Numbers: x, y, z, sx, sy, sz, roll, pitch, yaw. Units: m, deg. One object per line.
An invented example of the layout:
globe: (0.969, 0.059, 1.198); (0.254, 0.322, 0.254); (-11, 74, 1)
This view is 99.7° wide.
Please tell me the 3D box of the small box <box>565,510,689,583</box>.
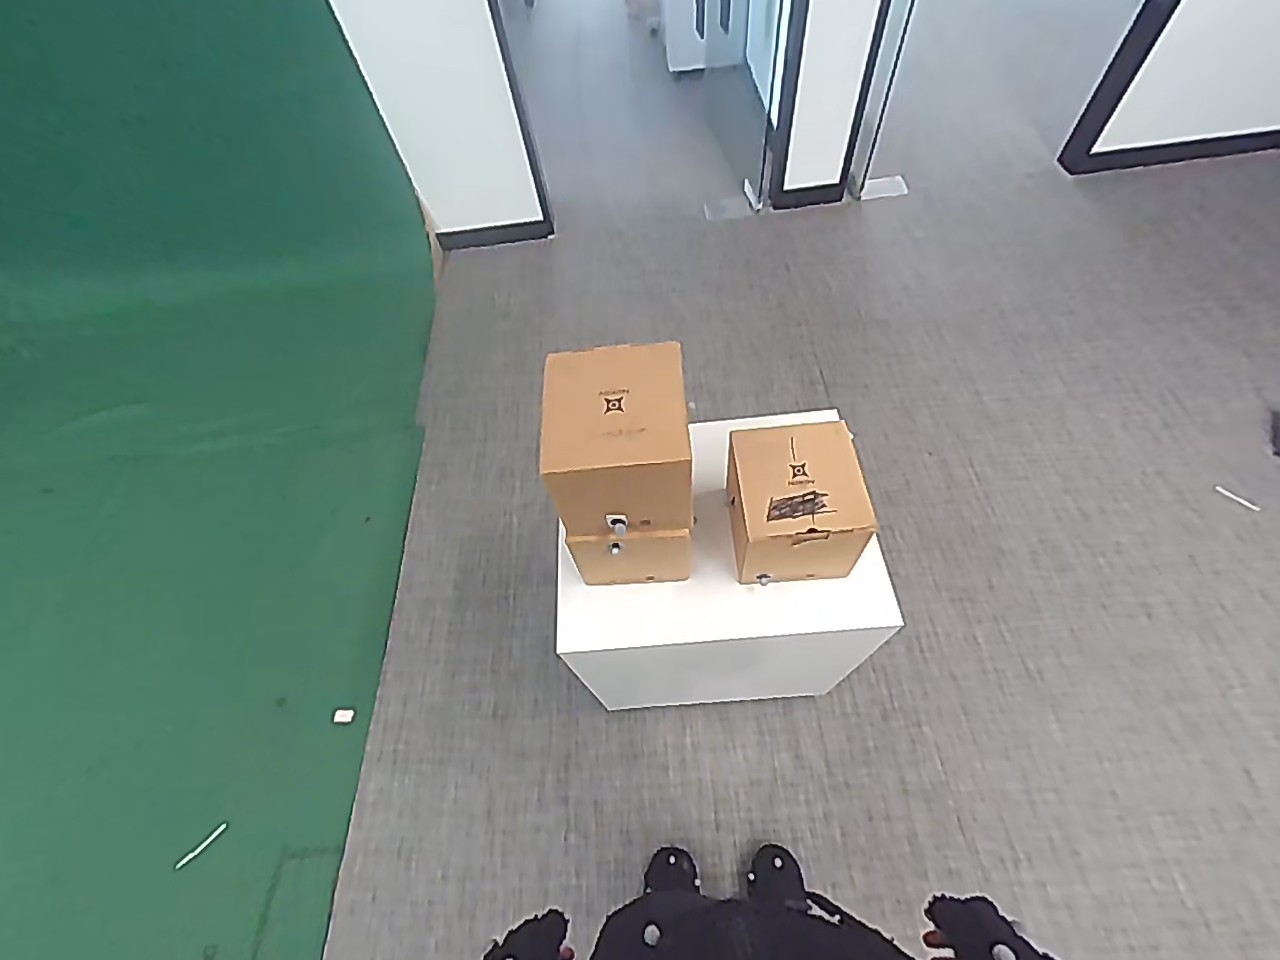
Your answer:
small box: (-0.012, 0.043, 0.827); (0.168, 0.176, 0.179); (-4, 57, 5)

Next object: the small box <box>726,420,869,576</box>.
small box: (0.220, 0.036, 0.806); (0.168, 0.176, 0.179); (-5, 57, 4)

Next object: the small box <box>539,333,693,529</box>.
small box: (-0.024, -0.056, 0.680); (0.168, 0.176, 0.179); (-6, 60, 3)
